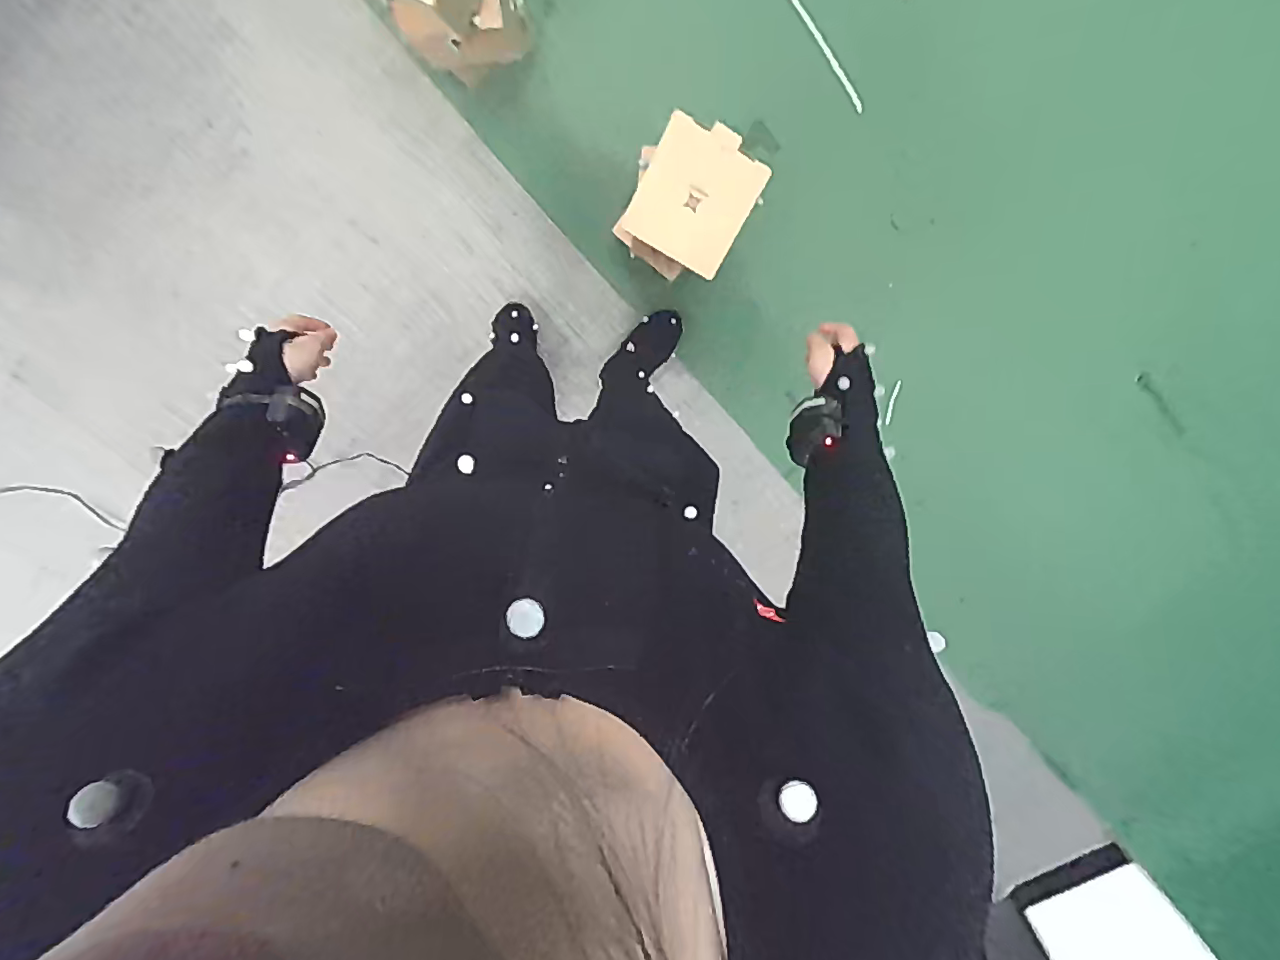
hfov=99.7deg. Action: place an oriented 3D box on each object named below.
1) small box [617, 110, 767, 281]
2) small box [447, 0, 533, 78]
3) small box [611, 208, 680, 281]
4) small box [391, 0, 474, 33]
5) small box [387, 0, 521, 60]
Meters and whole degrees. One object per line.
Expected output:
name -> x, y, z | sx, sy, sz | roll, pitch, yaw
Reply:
small box -> 0.077, -0.448, 0.875 | 0.168, 0.176, 0.179 | 27, 111, -11
small box -> -0.327, -0.913, 1.031 | 0.179, 0.176, 0.168 | -24, 113, 10
small box -> 0.051, -0.565, 1.182 | 0.168, 0.176, 0.179 | 36, 108, -15
small box -> -0.319, -0.761, 0.741 | 0.179, 0.176, 0.168 | 24, 113, -9
small box -> -0.312, -0.822, 0.894 | 0.179, 0.176, 0.168 | -5, 115, 2
